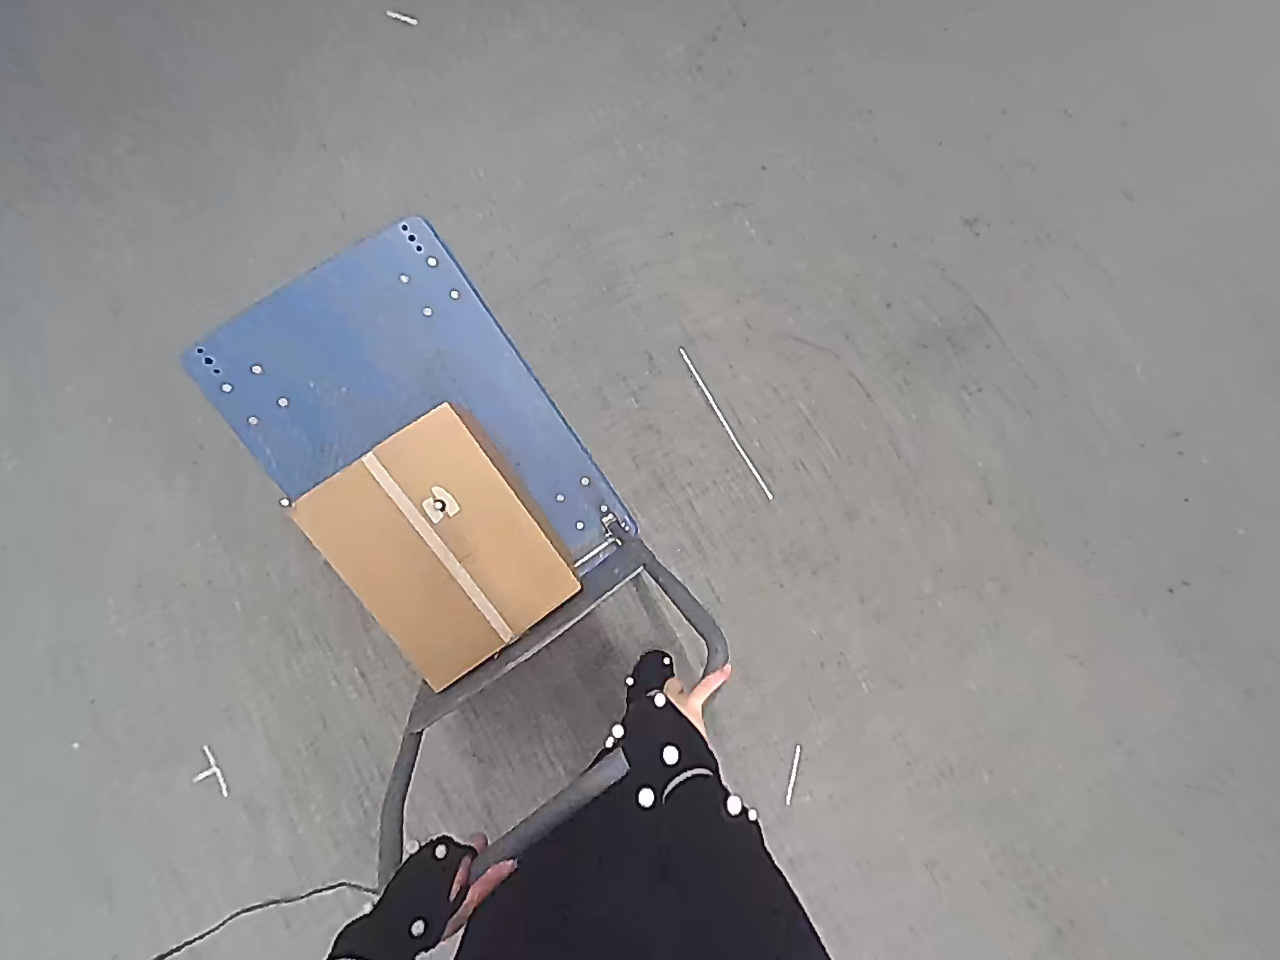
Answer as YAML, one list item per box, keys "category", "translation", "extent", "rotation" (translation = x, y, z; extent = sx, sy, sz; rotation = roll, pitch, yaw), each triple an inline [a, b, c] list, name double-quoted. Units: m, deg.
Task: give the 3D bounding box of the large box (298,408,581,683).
- category: "large box"
  translation: [-0.365, 0.111, 1.095]
  extent: [0.320, 0.320, 0.408]
  rotation: [-36, 99, -7]
